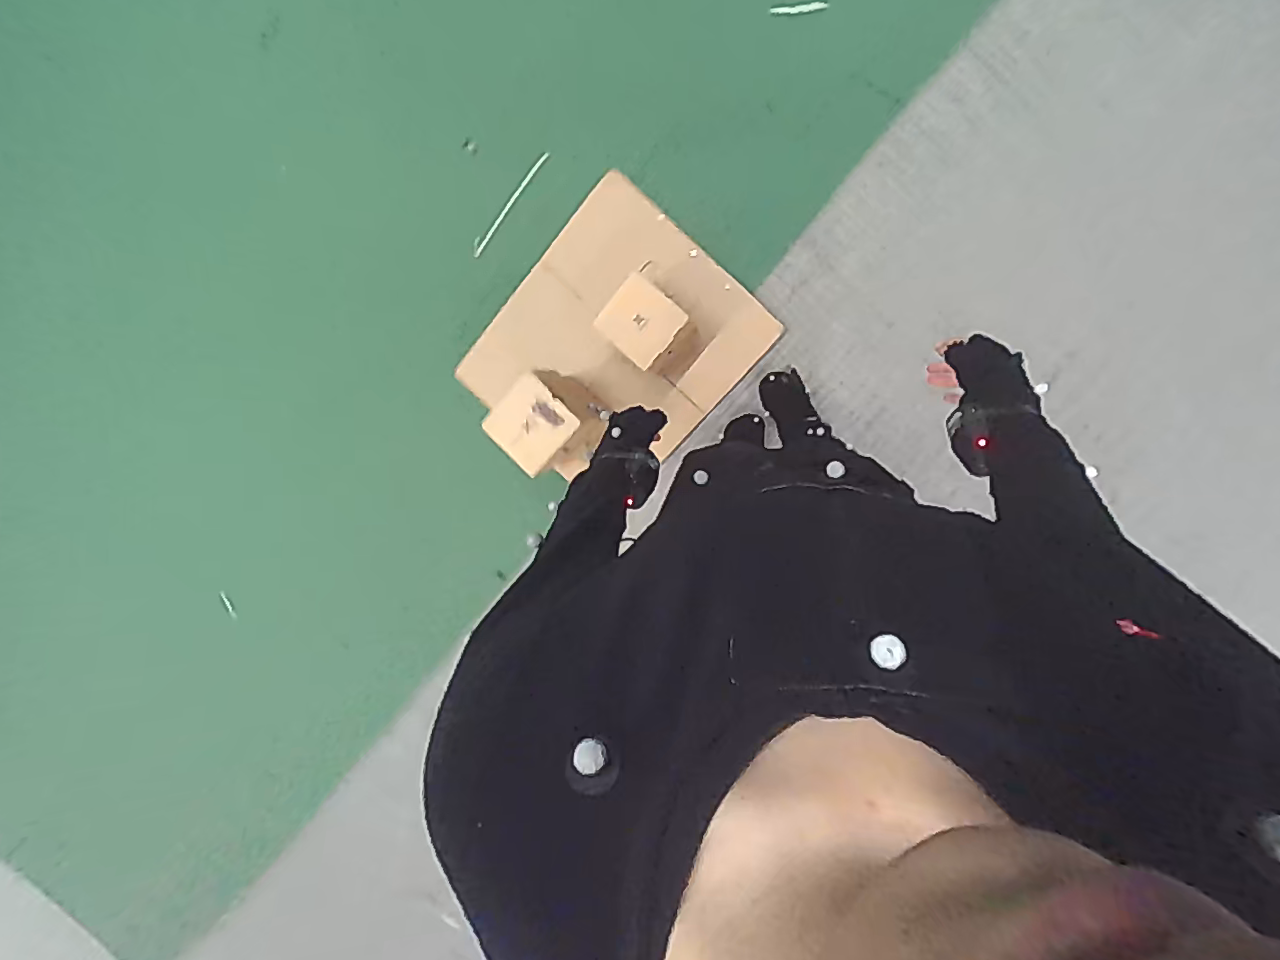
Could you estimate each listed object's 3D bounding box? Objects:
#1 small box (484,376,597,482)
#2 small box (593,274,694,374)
[{"bbox_3d":[-0.219,-0.125,1.254,0.168,0.176,0.179,45,106,0],"label":"small box"},{"bbox_3d":[0.016,-0.376,1.341,0.179,0.176,0.168,41,104,1],"label":"small box"}]
